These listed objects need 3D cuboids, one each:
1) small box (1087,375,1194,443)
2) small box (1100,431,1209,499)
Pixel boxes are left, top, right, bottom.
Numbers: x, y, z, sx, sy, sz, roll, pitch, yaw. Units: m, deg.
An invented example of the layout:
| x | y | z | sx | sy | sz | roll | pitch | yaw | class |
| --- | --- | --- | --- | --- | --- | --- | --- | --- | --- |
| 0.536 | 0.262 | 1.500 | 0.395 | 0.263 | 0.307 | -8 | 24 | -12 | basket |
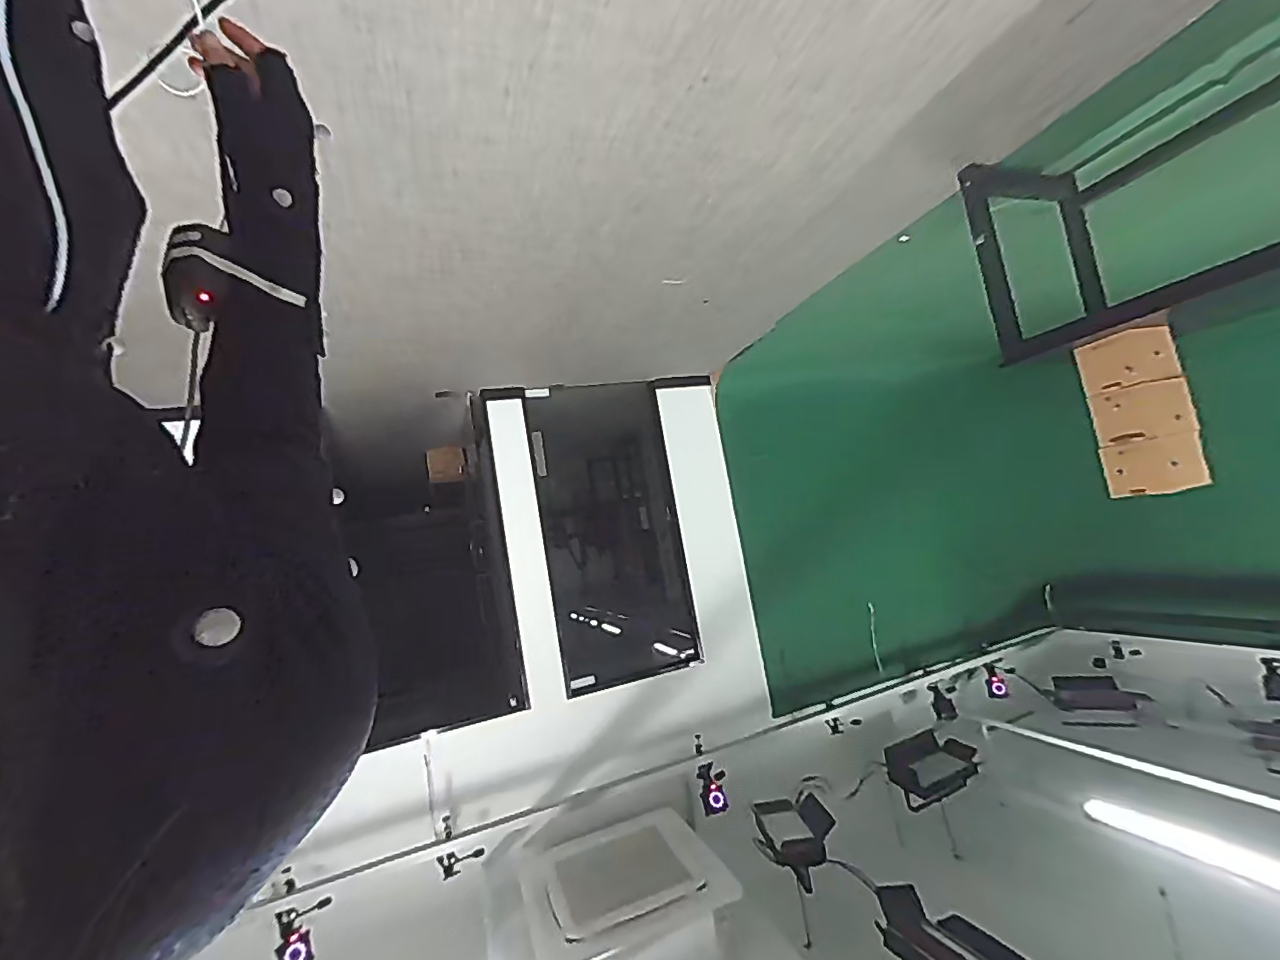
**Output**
| x | y | z | sx | sy | sz | roll | pitch | yaw | class |
| --- | --- | --- | --- | --- | --- | --- | --- | --- | --- |
| 1.553 | -0.222 | 1.685 | 0.179 | 0.176 | 0.168 | -9 | 174 | -14 | small box |
| 1.584 | -0.045 | 1.675 | 0.179 | 0.176 | 0.168 | -10 | 175 | -14 | small box |
